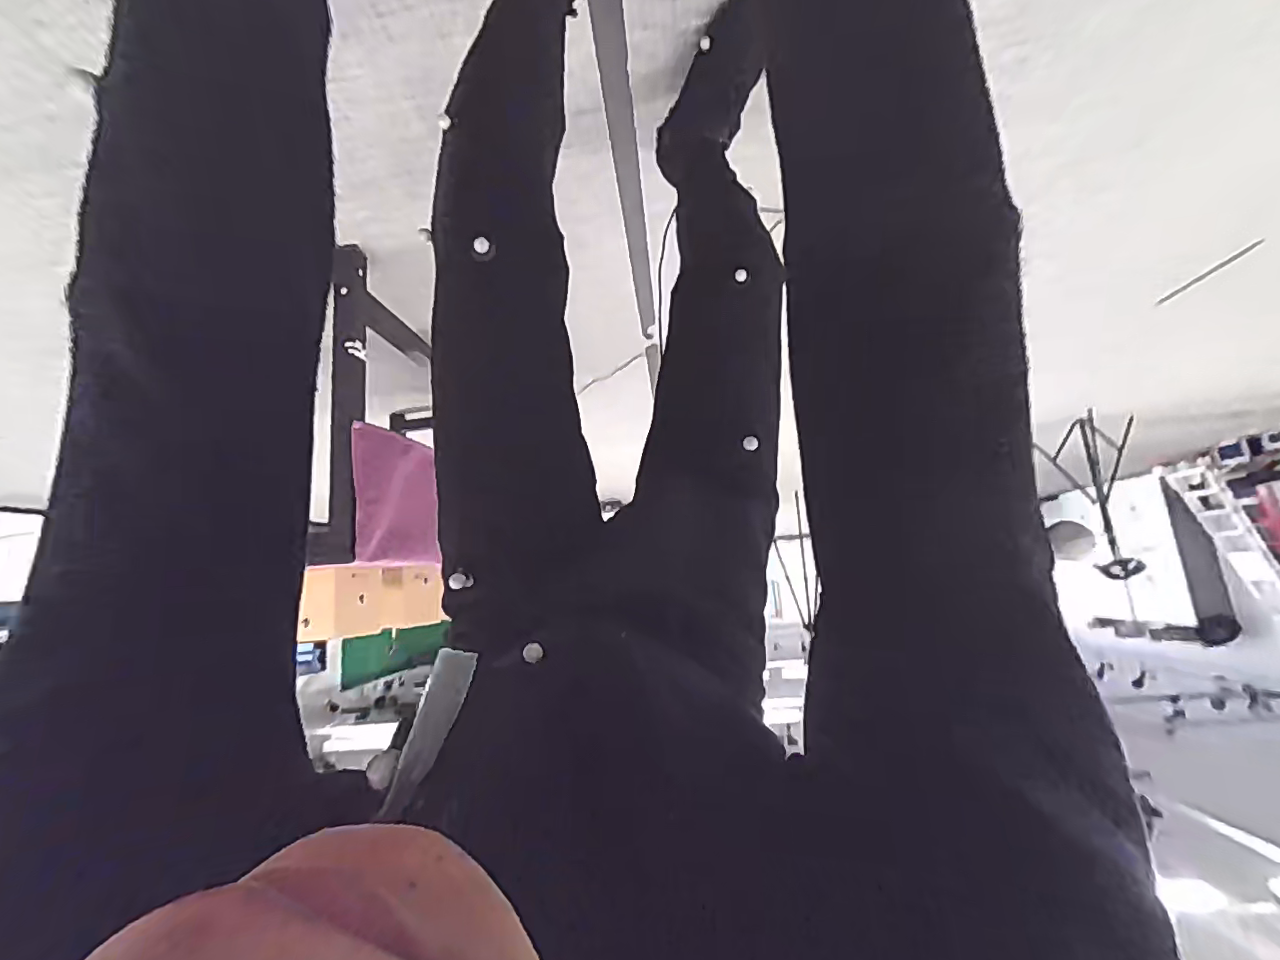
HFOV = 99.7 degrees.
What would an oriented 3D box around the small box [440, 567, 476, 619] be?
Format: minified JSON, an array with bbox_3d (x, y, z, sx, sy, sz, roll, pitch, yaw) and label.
[{"bbox_3d":[-0.698,0.402,1.918,0.179,0.176,0.168,-8,170,9],"label":"small box"}]

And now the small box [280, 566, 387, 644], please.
[{"bbox_3d":[-0.762,0.305,1.349,0.179,0.176,0.168,-7,170,12],"label":"small box"}]

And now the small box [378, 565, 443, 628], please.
[{"bbox_3d":[-0.712,0.347,1.617,0.179,0.176,0.168,-8,170,15],"label":"small box"}]
